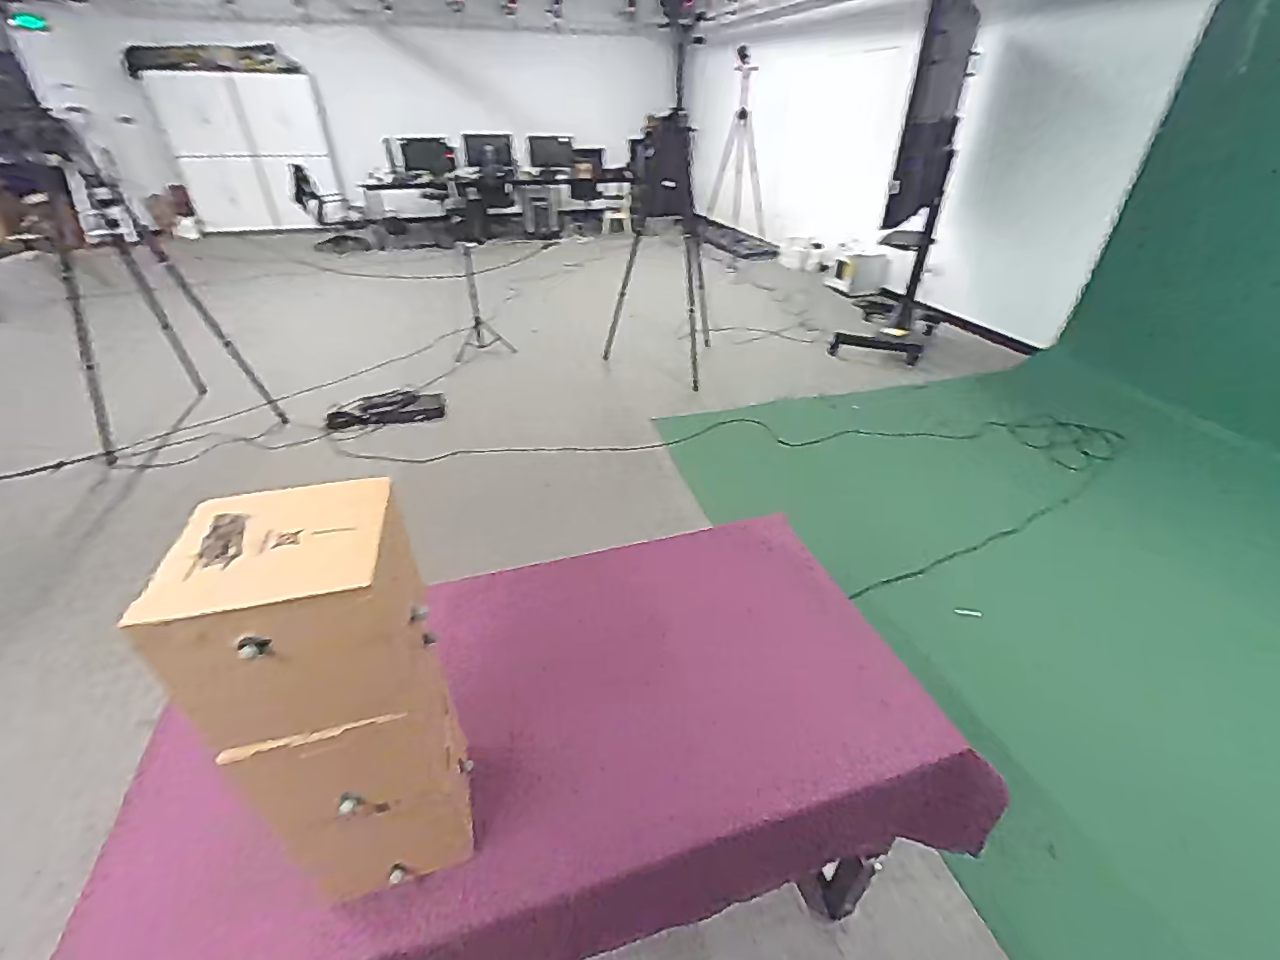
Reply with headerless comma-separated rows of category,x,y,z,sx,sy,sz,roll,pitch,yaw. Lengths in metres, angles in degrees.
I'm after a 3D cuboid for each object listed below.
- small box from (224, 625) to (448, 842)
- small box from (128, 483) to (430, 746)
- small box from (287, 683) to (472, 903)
small box,-0.321,0.263,0.615,0.168,0.176,0.179,-10,36,-14
small box,-0.316,0.126,0.524,0.179,0.176,0.168,-8,35,-13
small box,-0.320,0.402,0.705,0.179,0.176,0.168,-10,35,-16
